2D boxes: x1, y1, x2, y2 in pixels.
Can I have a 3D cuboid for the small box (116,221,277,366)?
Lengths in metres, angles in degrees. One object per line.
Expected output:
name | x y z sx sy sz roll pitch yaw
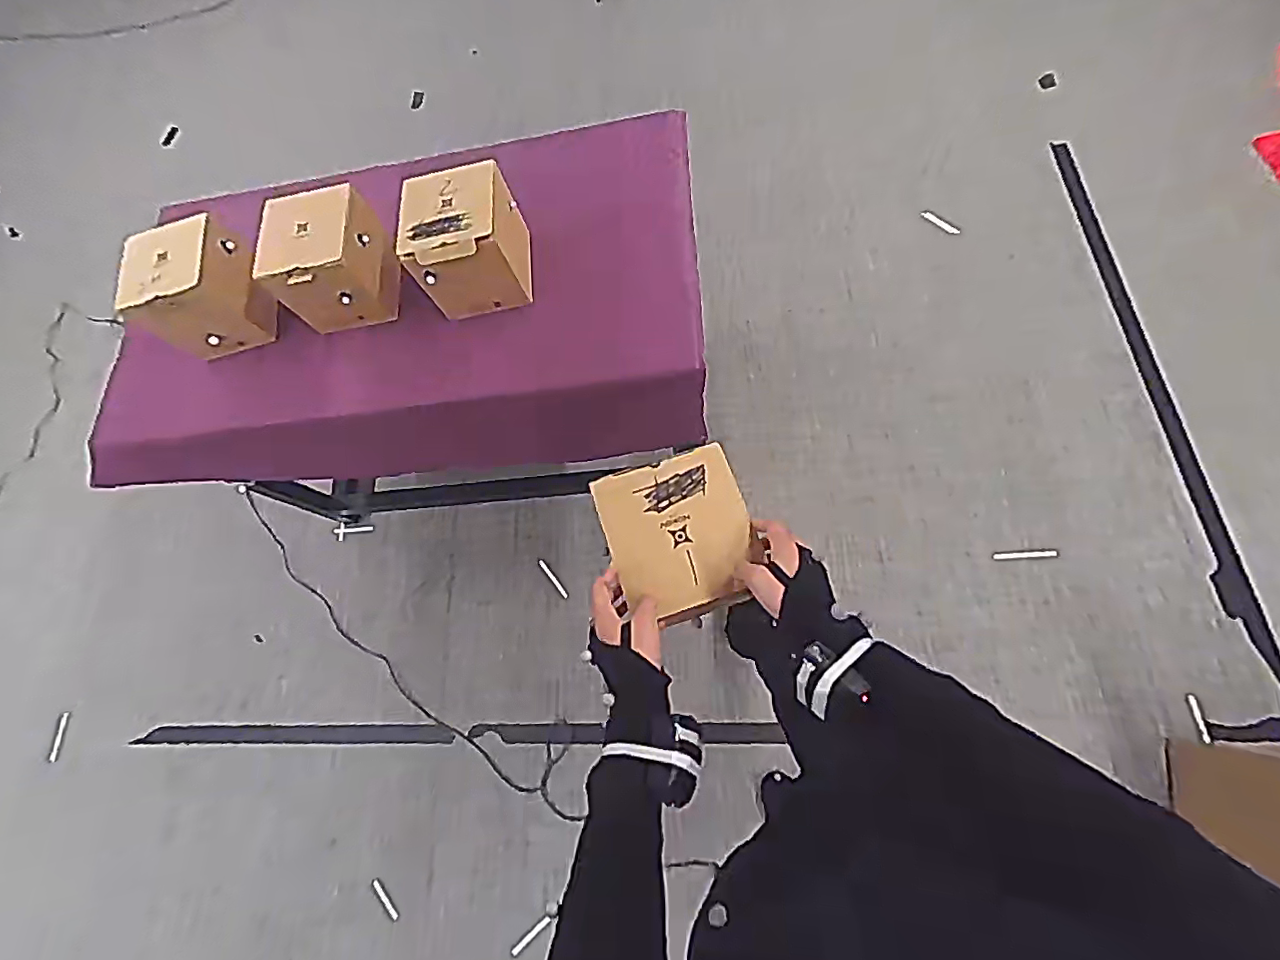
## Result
small box | -0.830 -0.348 1.032 0.168 0.176 0.179 -15 69 5

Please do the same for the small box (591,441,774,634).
small box | 0.045 0.081 0.680 0.168 0.176 0.179 -18 71 -4

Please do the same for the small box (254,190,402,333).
small box | -0.565 -0.391 1.001 0.168 0.176 0.179 -8 70 7
